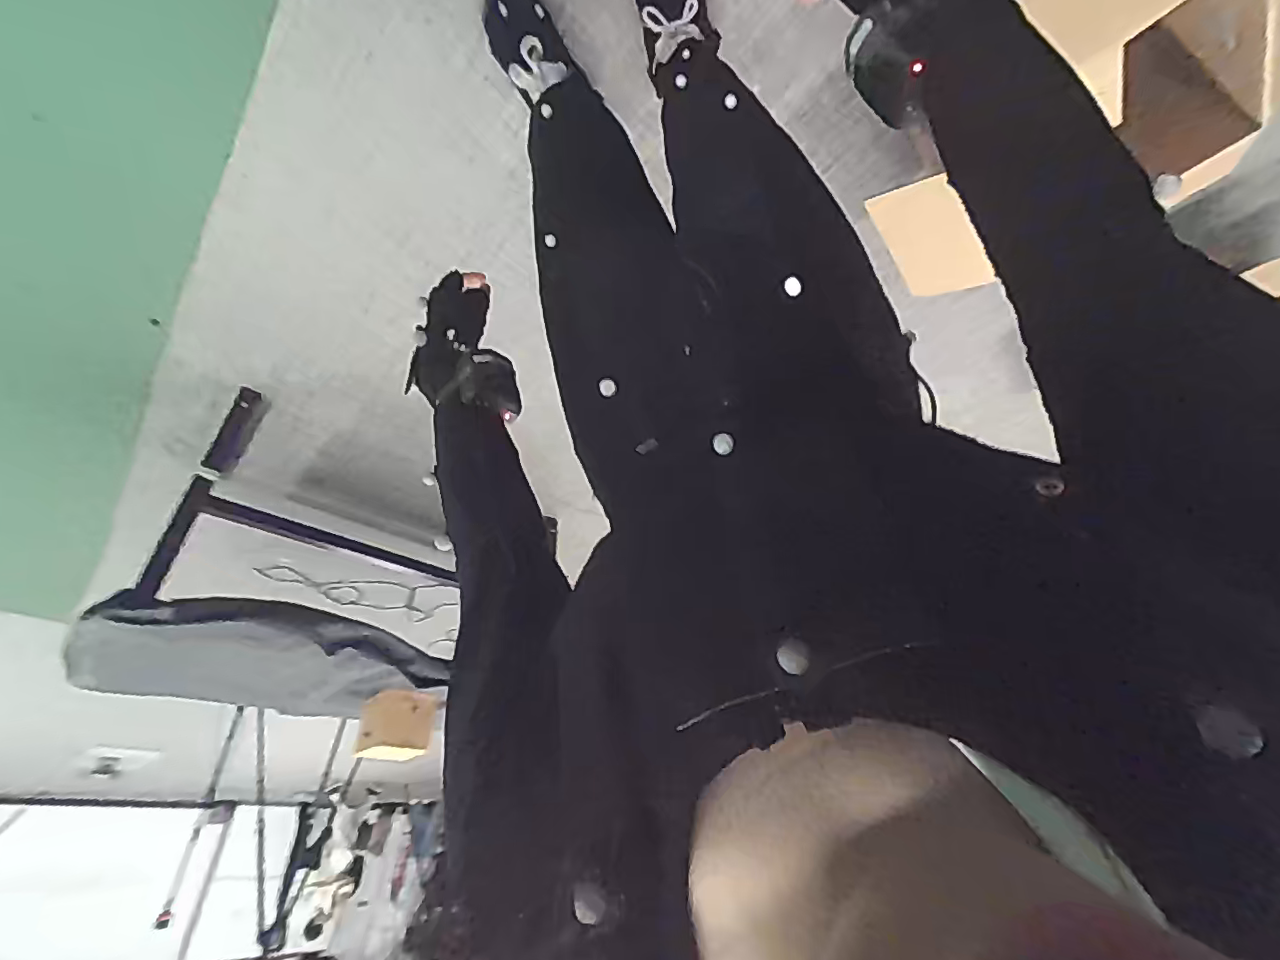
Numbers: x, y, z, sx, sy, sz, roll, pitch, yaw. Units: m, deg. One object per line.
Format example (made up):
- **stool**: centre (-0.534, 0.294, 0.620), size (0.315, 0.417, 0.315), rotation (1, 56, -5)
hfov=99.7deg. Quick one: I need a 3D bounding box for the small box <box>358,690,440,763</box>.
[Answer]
- **small box**: centre (-0.754, 0.778, 1.704), size (0.168, 0.176, 0.179), rotation (28, 133, -35)
